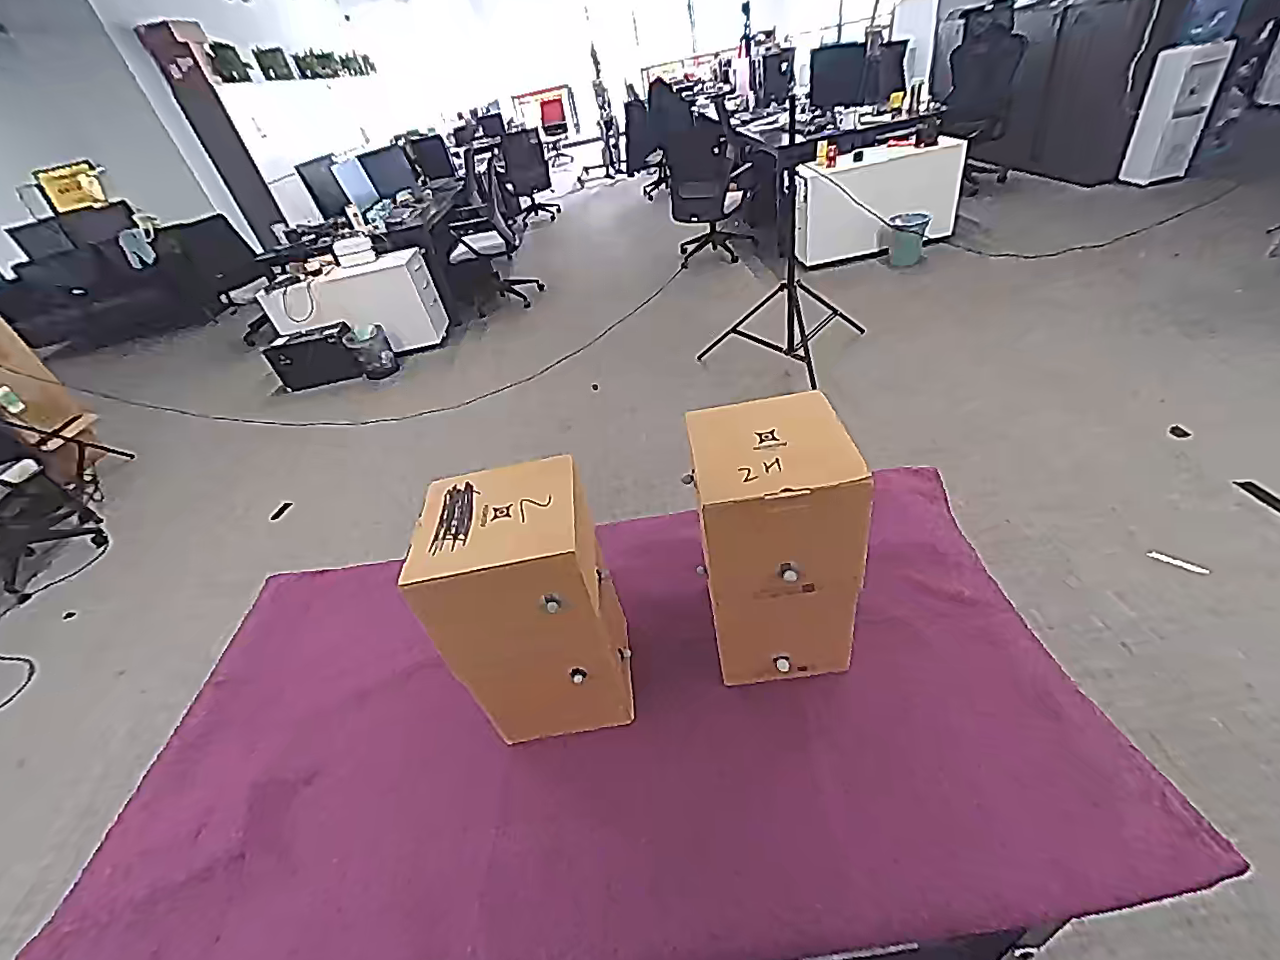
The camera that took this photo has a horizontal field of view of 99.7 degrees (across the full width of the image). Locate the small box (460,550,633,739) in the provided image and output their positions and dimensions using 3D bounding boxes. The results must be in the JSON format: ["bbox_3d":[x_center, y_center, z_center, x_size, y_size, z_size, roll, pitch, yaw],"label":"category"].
[{"bbox_3d":[-0.114,0.223,0.727,0.179,0.176,0.168,-11,37,2],"label":"small box"}]

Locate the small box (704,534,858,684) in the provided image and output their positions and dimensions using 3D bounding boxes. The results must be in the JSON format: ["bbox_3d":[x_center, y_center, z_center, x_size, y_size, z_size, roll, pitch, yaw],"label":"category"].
[{"bbox_3d":[0.180,0.148,0.734,0.168,0.176,0.179,-9,38,5],"label":"small box"}]

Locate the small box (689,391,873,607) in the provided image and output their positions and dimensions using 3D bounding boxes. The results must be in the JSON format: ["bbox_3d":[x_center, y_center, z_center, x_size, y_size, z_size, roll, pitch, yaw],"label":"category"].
[{"bbox_3d":[0.154,0.021,0.632,0.168,0.176,0.179,-10,38,5],"label":"small box"}]
